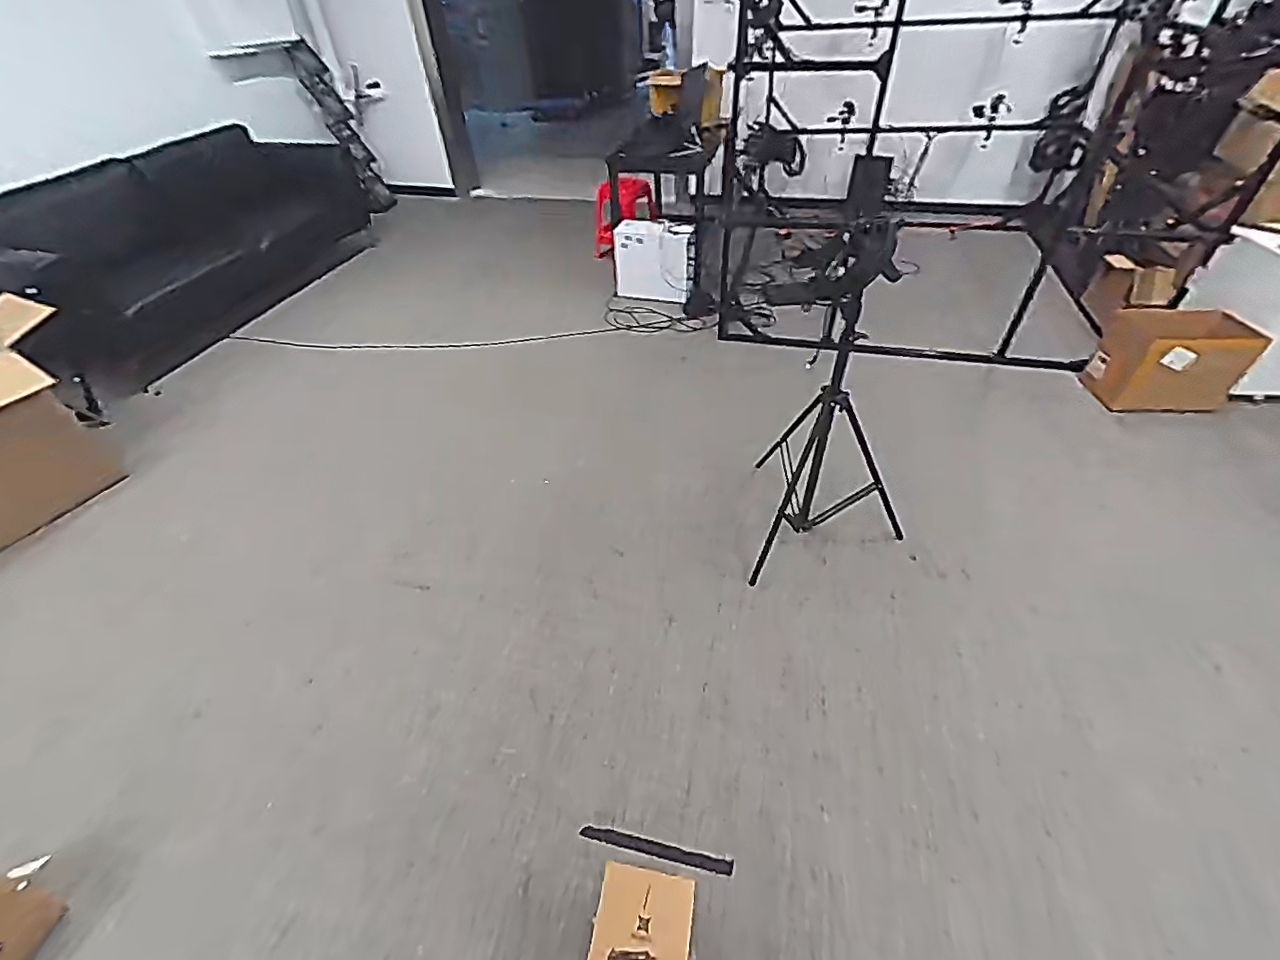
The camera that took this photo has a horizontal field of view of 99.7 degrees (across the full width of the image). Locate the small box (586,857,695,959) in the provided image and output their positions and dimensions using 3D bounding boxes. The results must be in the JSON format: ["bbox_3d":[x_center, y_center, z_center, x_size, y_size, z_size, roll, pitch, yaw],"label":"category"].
[{"bbox_3d":[0.006,0.820,0.975,0.168,0.176,0.179,7,43,9],"label":"small box"}]
